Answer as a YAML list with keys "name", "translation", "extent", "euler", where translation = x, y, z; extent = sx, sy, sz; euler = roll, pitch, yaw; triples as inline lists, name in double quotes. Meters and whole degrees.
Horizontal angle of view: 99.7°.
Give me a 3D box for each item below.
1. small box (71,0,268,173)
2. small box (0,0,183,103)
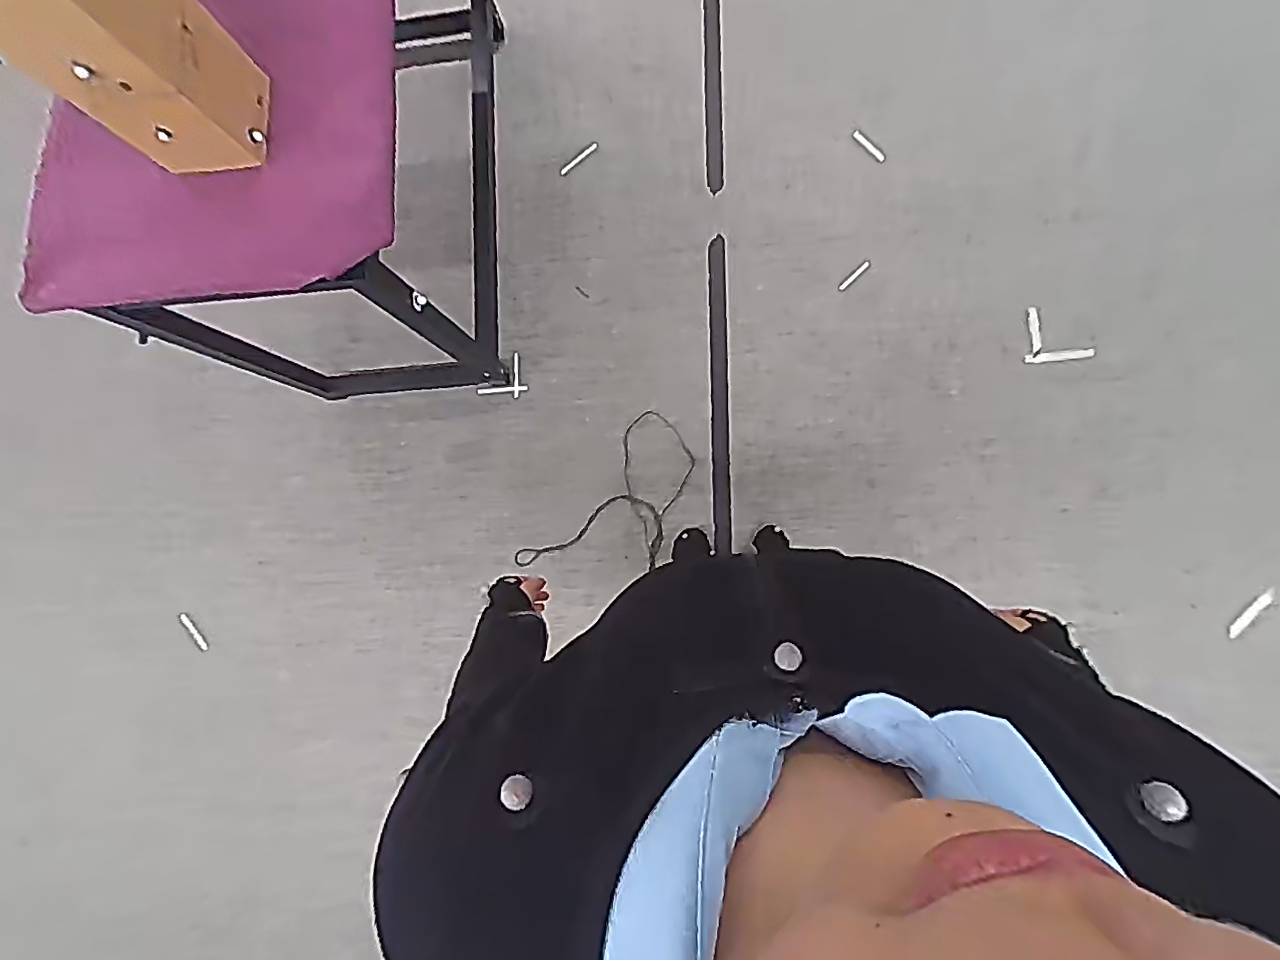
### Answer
- name: "small box"
  translation: [-0.738, -0.625, 0.867]
  extent: [0.179, 0.176, 0.168]
  euler: [-2, 84, 6]
- name: "small box"
  translation: [-0.745, -0.640, 0.702]
  extent: [0.168, 0.176, 0.179]
  euler: [-3, 84, 5]
